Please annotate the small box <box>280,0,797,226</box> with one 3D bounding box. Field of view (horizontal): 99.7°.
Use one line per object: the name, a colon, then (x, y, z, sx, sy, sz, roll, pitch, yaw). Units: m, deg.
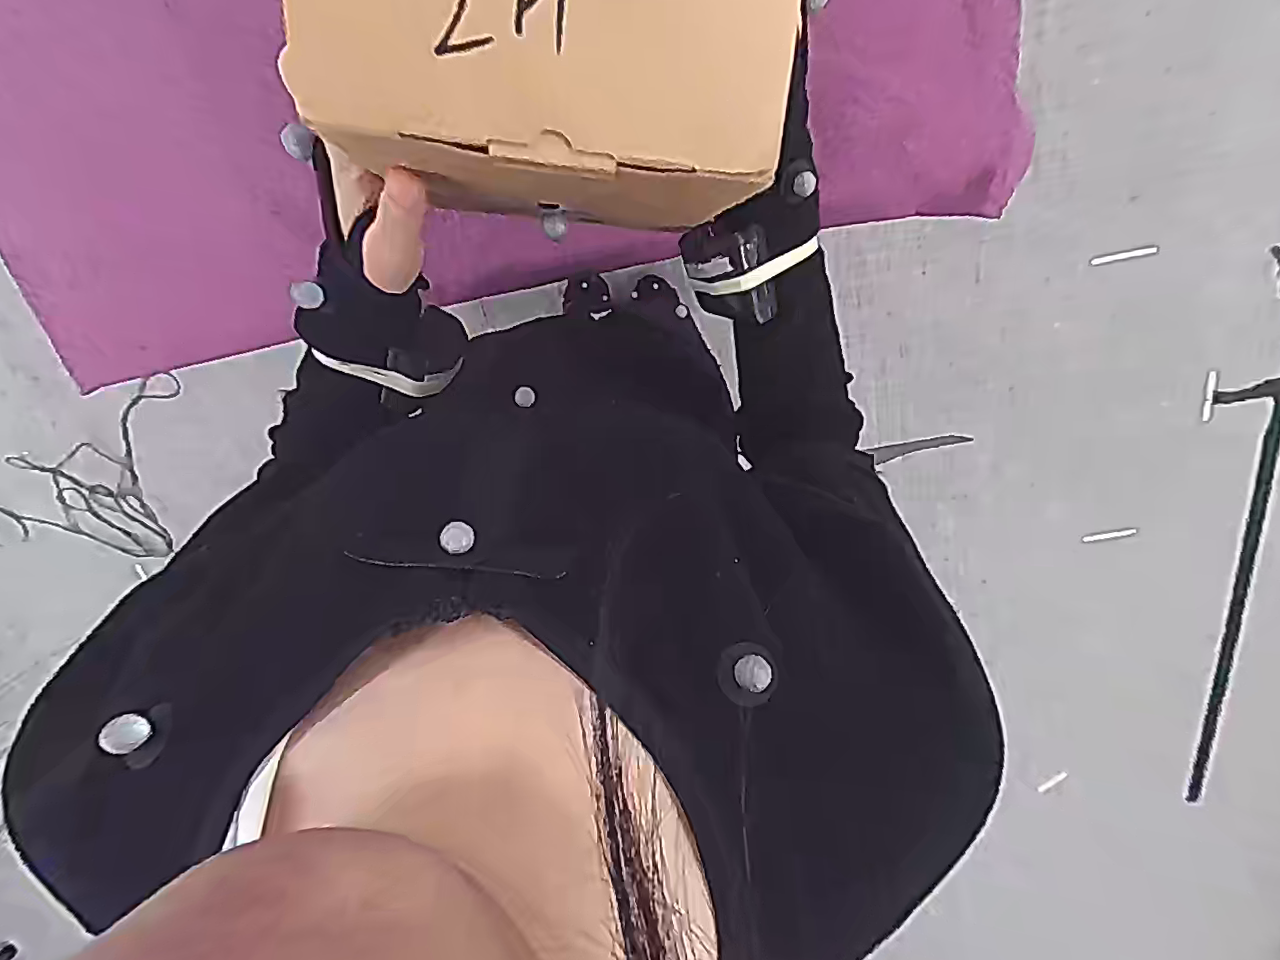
small box: (-0.035, -0.223, 0.235, 0.168, 0.176, 0.179, 2, 109, -8)
